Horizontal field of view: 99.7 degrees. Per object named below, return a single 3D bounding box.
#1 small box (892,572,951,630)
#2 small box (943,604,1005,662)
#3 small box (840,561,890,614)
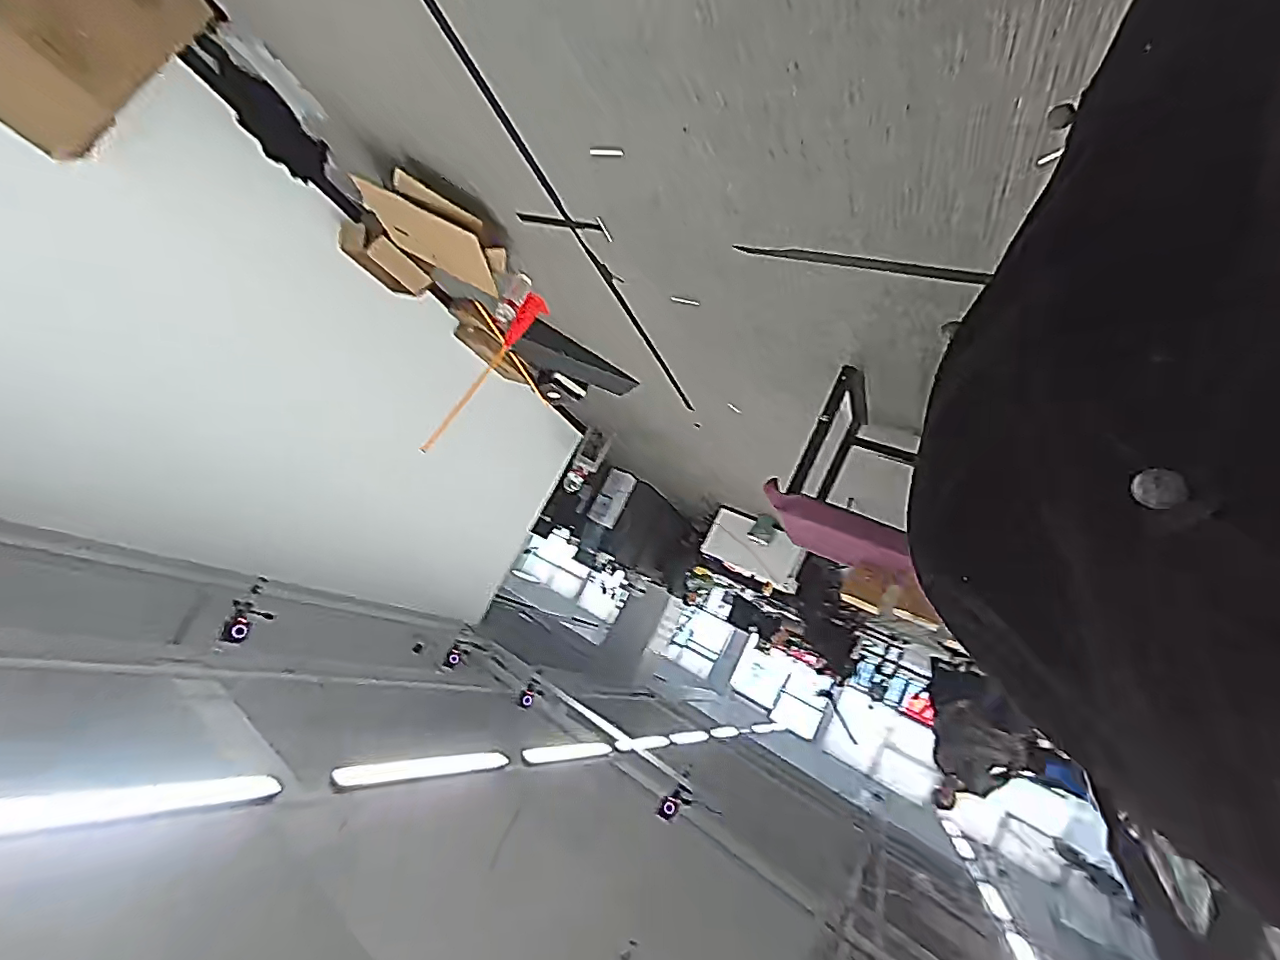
[{"bbox_3d":[1.144,0.490,2.201,0.168,0.176,0.179,23,170,29],"label":"small box"},{"bbox_3d":[1.393,0.635,2.255,0.168,0.176,0.179,23,167,30],"label":"small box"},{"bbox_3d":[1.038,0.492,2.489,0.168,0.176,0.179,21,167,30],"label":"small box"}]
